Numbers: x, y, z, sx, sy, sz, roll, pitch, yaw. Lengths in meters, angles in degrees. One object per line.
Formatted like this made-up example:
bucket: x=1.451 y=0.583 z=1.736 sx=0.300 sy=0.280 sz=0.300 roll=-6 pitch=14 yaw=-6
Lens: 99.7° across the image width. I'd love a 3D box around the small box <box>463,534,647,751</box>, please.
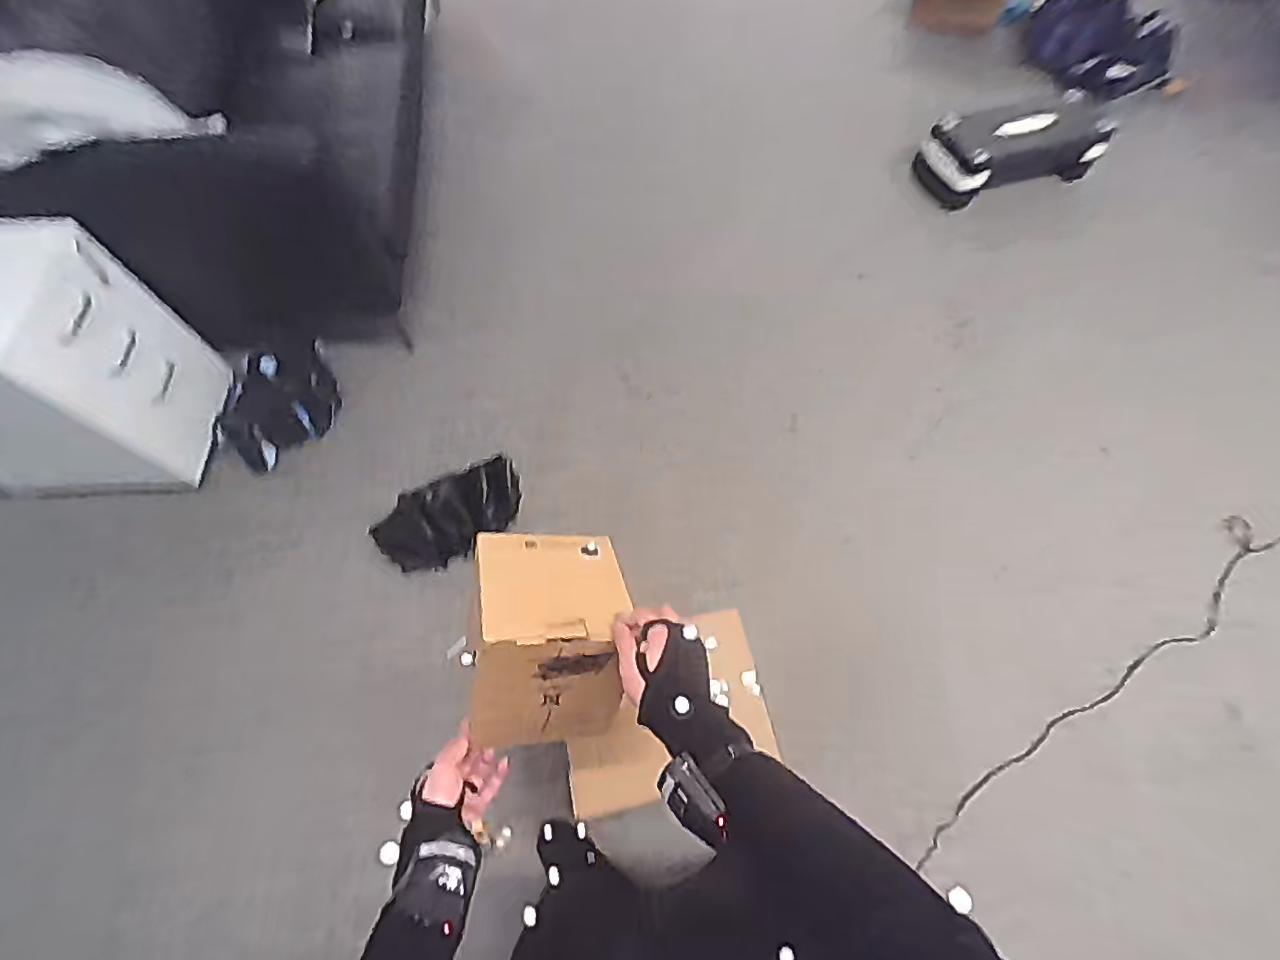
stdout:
small box: x=-0.111 y=0.179 z=0.628 sx=0.168 sy=0.179 sz=0.176 roll=5 pitch=31 yaw=-22
